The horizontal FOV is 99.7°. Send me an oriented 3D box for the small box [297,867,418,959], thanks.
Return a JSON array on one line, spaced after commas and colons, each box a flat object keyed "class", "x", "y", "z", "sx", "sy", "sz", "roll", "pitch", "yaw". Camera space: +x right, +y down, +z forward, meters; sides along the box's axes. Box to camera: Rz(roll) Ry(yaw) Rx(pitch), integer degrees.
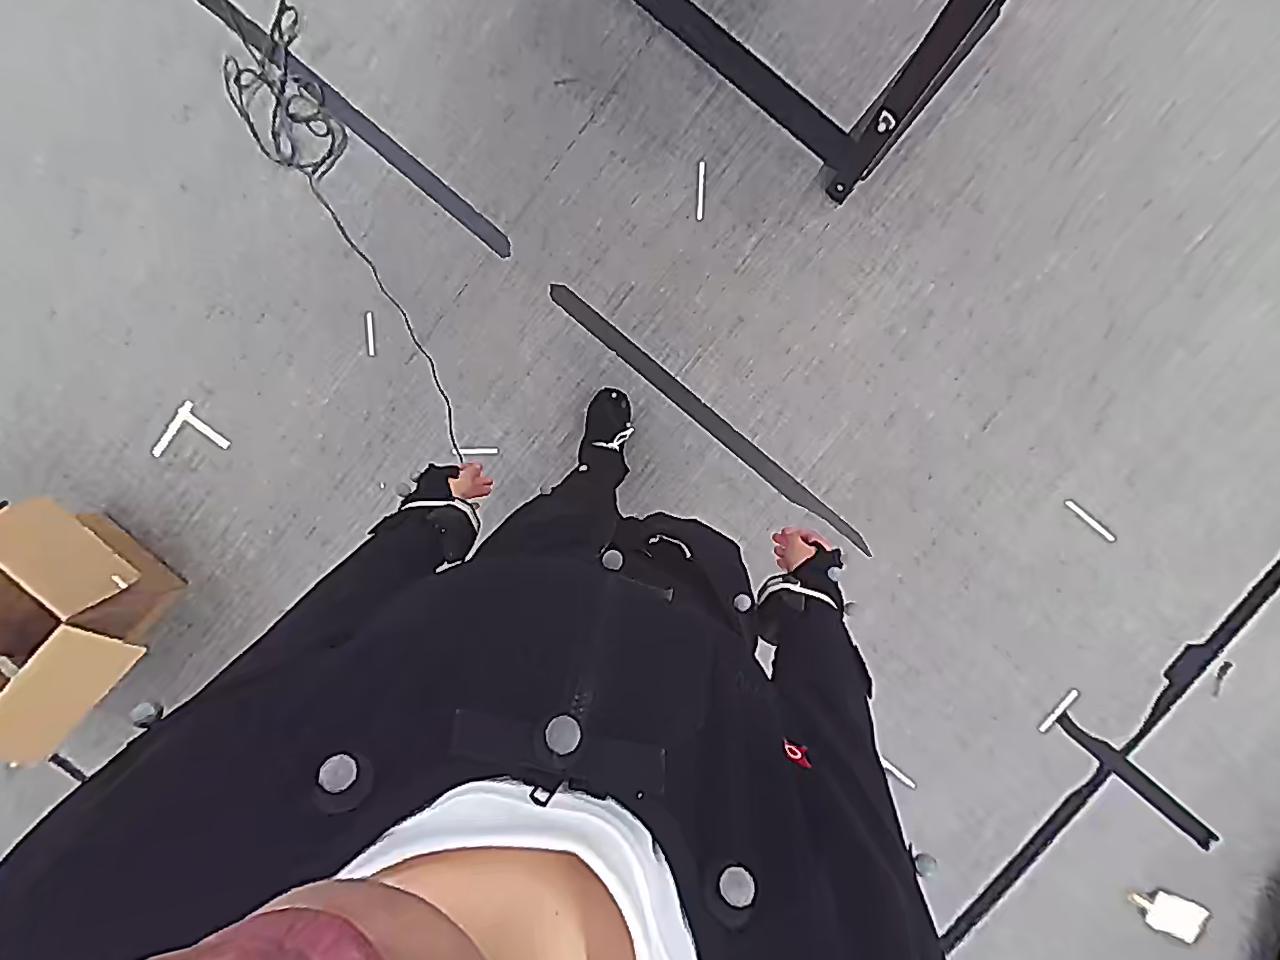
[{"class": "small box", "x": -0.628, "y": 1.022, "z": 1.194, "sx": 0.168, "sy": 0.176, "sz": 0.179, "roll": 36, "pitch": 93, "yaw": -1}]
